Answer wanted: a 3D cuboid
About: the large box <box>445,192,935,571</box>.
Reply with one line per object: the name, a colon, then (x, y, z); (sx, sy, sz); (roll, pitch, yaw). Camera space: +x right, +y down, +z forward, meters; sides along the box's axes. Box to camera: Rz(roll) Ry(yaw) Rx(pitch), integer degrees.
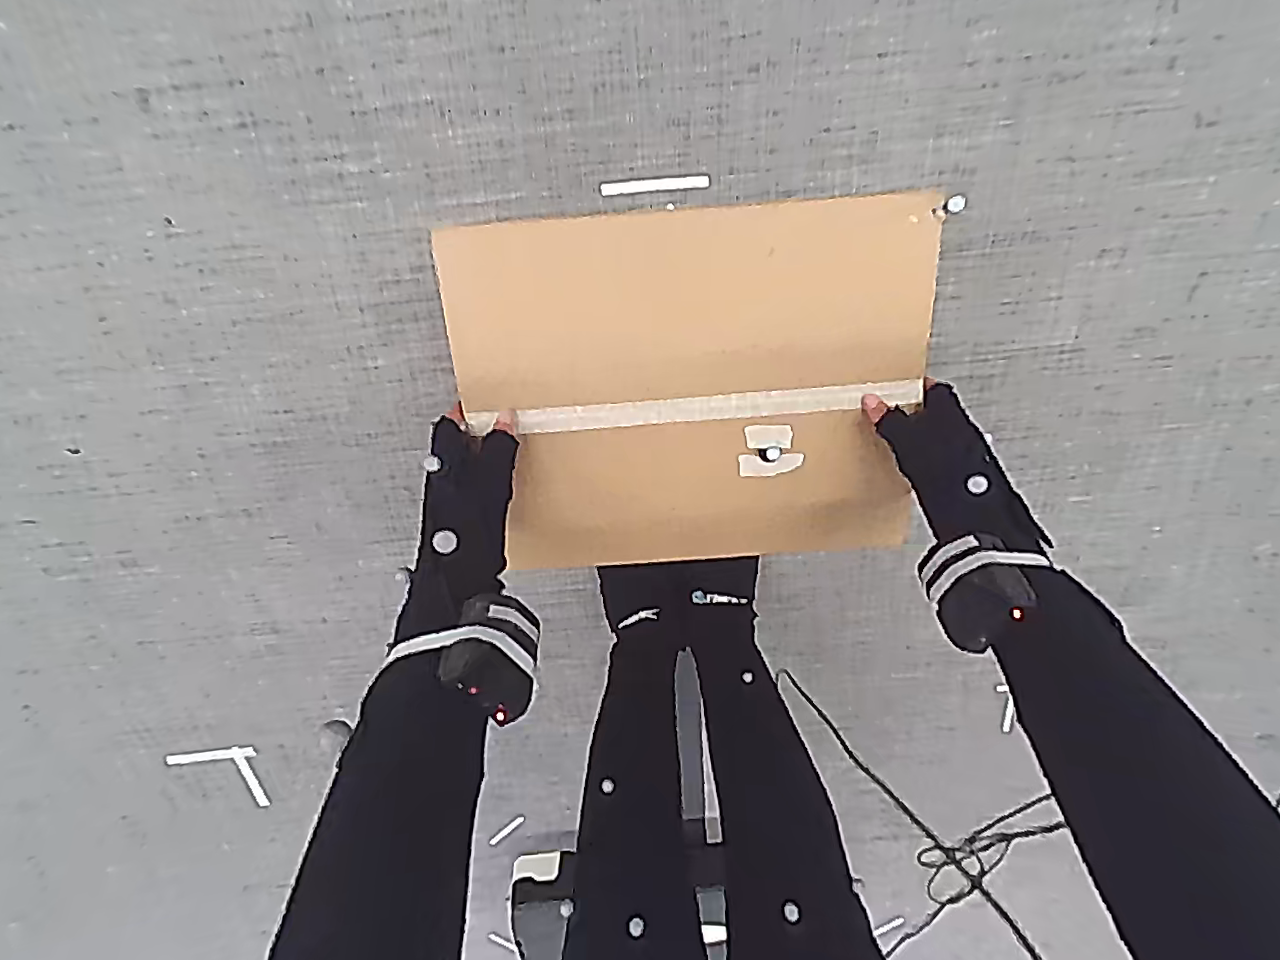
large box: (0.046, -0.122, 0.623); (0.408, 0.320, 0.320); (-5, 112, 0)
